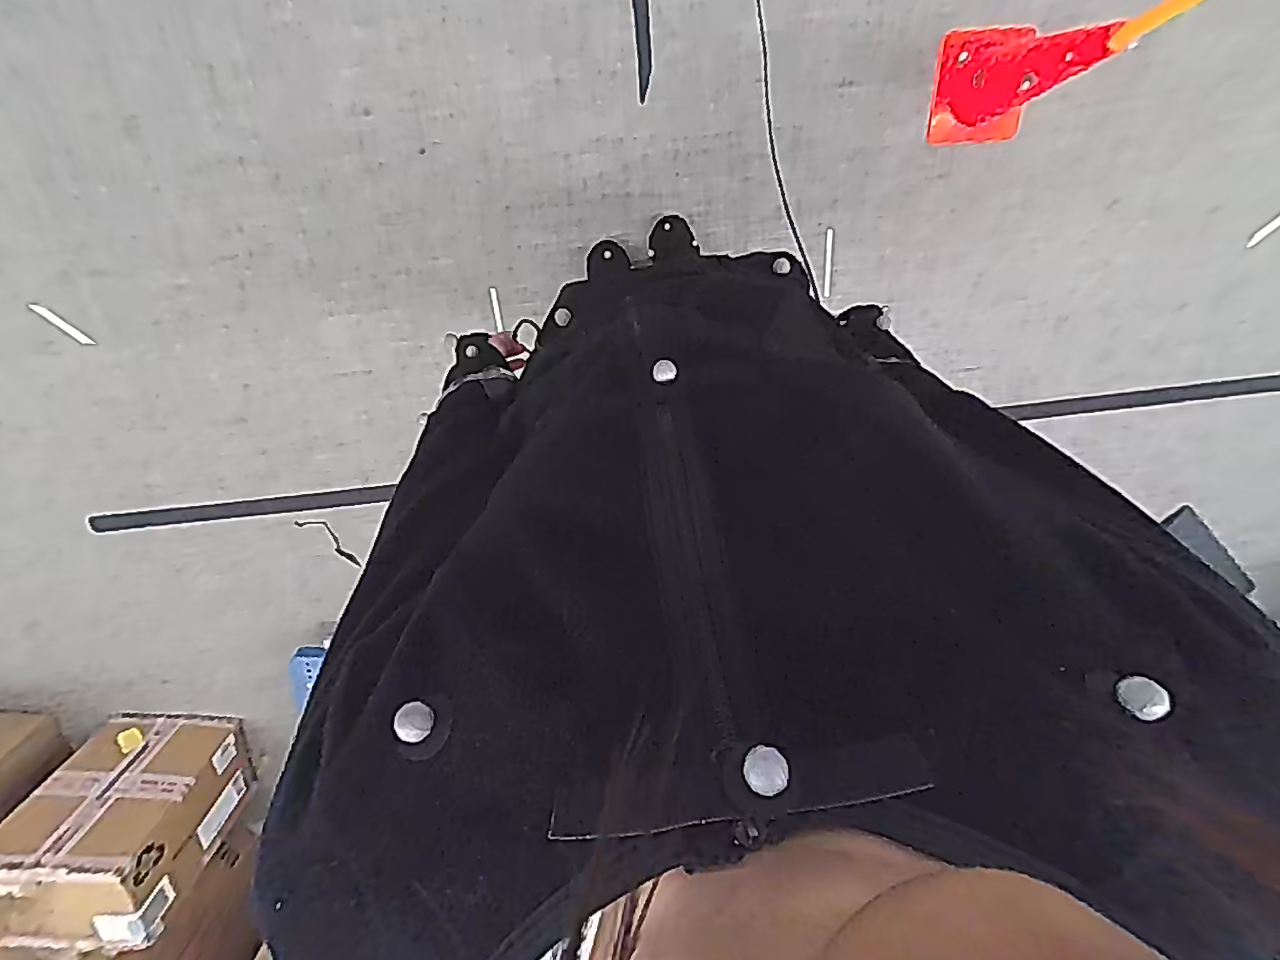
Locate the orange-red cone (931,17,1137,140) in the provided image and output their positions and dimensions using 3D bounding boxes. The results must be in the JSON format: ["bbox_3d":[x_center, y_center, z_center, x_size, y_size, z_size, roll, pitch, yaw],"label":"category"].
[{"bbox_3d":[0.729,-0.754,0.977,0.198,0.360,0.199,-3,116,-1],"label":"orange-red cone"}]
